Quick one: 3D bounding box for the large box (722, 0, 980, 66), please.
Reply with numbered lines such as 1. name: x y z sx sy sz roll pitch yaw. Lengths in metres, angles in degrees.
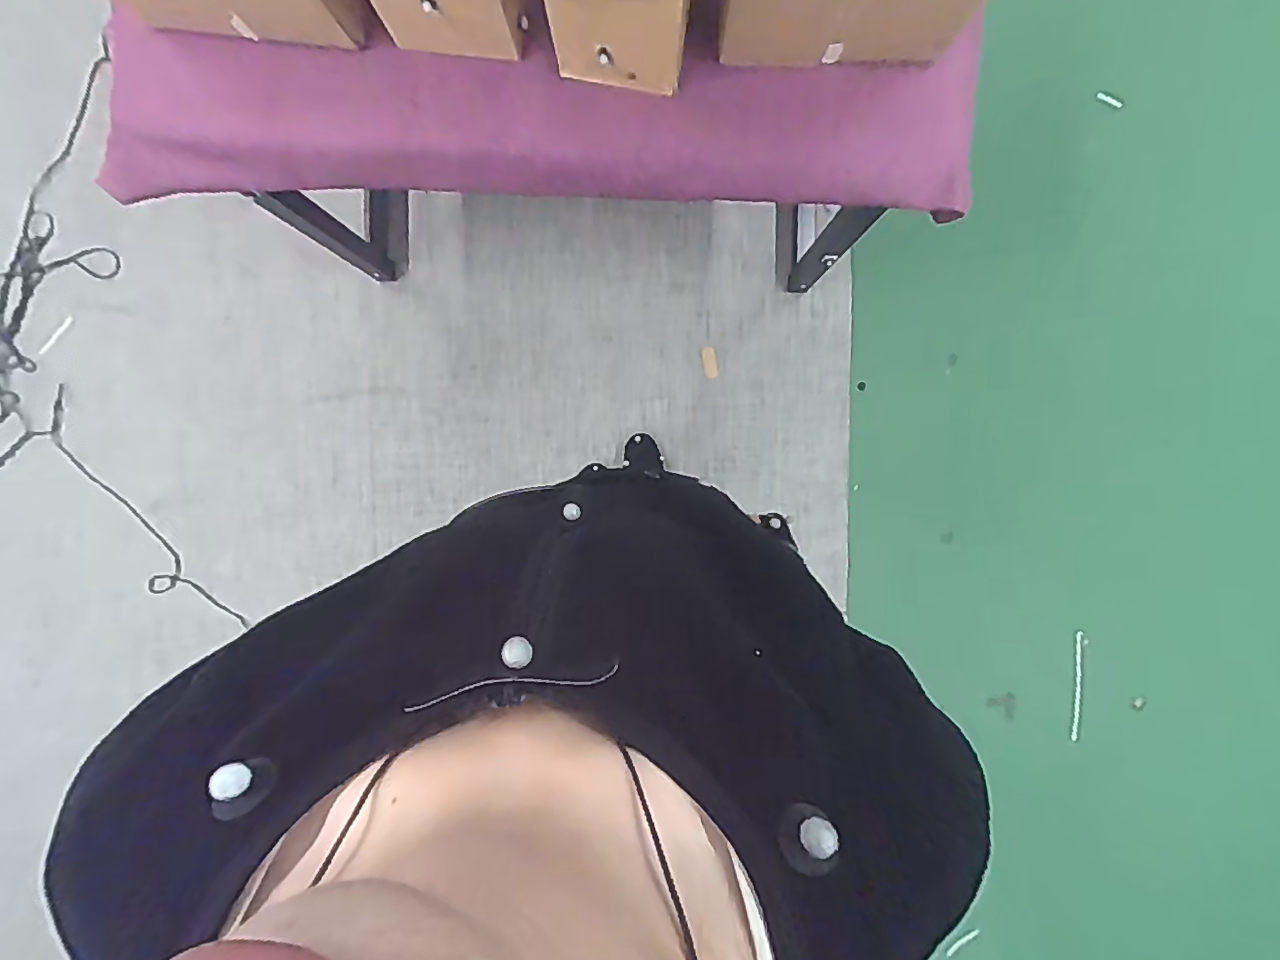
1. large box: 0.261 -0.773 0.599 0.320 0.320 0.408 0 93 3
